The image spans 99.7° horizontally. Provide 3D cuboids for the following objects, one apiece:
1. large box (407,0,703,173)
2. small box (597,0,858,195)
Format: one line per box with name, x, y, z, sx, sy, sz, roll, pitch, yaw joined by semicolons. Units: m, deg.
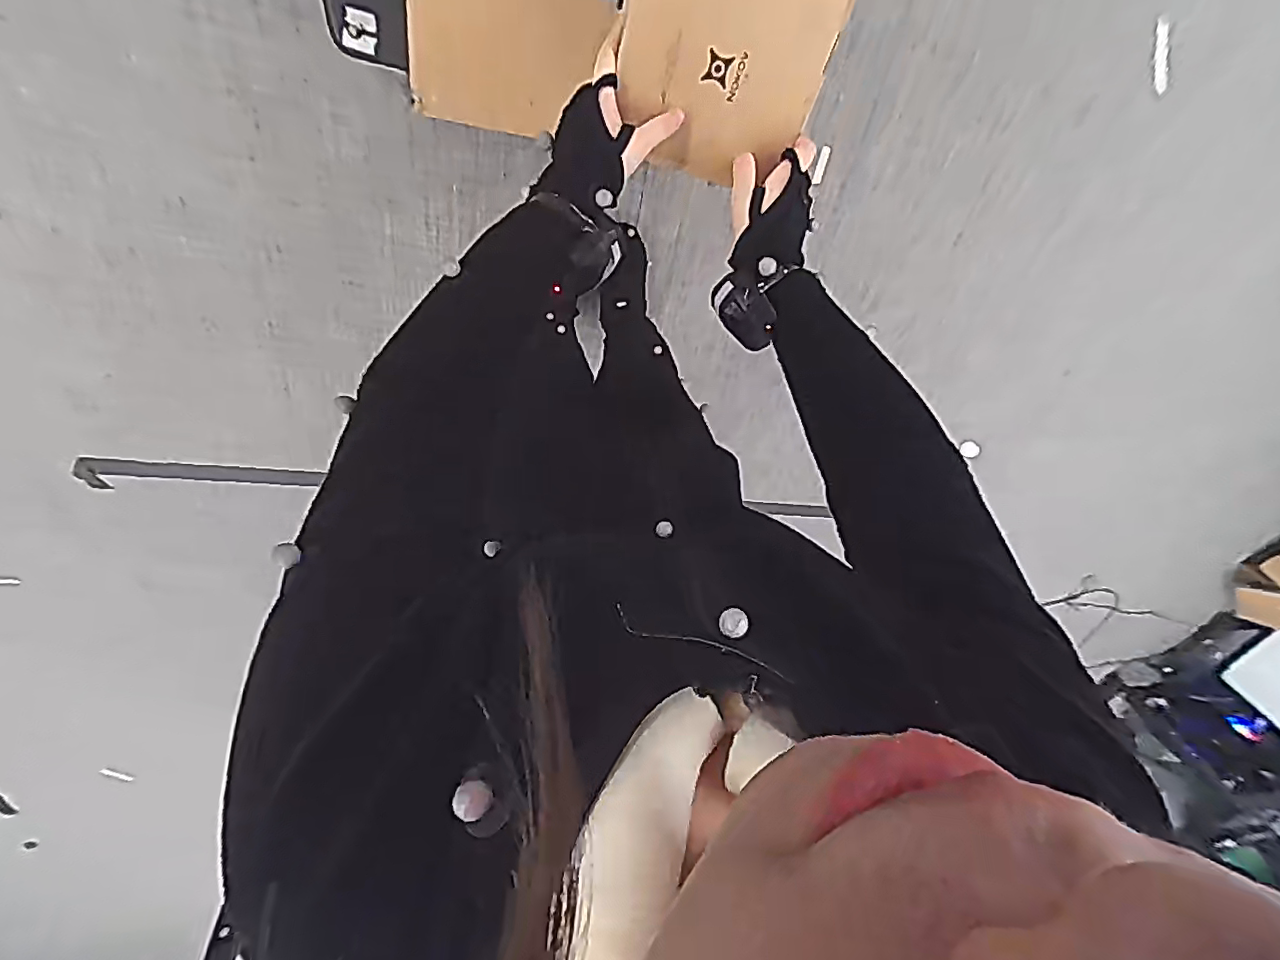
large box;-0.065;-0.625;0.700;0.408;0.320;0.320;3;126;-14
small box;0.064;-0.400;0.508;0.179;0.176;0.168;10;129;-15
